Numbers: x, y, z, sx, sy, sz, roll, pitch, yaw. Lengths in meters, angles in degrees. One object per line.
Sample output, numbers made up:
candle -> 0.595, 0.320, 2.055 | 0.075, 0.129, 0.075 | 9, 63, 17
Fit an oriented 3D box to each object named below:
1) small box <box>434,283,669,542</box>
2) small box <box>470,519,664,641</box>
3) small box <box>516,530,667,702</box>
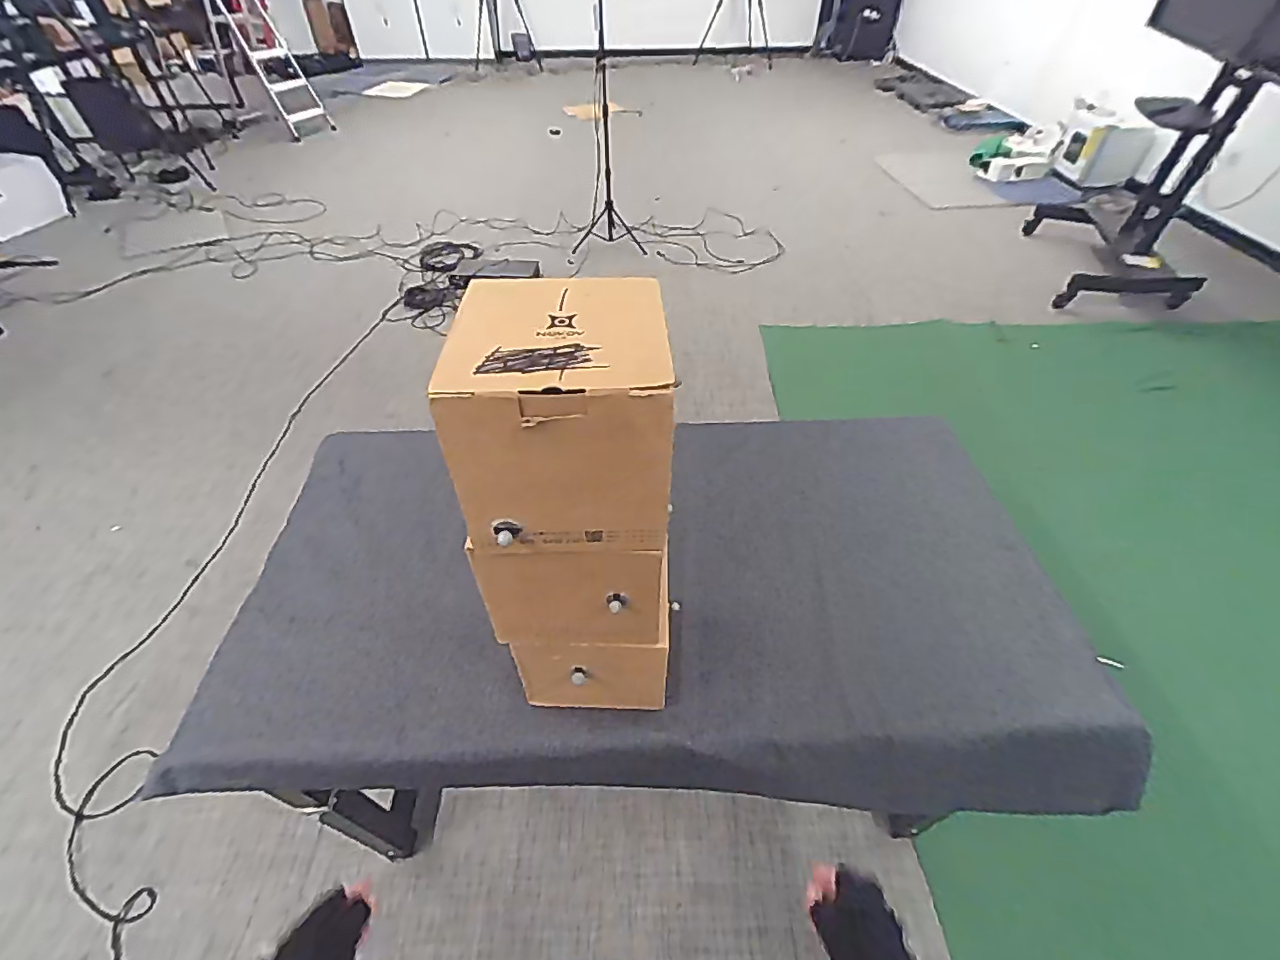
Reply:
small box -> -0.062, -0.058, 0.481 | 0.168, 0.176, 0.179 | 0, 43, -2
small box -> -0.066, 0.063, 0.594 | 0.179, 0.176, 0.168 | 0, 44, 0
small box -> -0.054, 0.177, 0.708 | 0.179, 0.176, 0.168 | 1, 45, 2
